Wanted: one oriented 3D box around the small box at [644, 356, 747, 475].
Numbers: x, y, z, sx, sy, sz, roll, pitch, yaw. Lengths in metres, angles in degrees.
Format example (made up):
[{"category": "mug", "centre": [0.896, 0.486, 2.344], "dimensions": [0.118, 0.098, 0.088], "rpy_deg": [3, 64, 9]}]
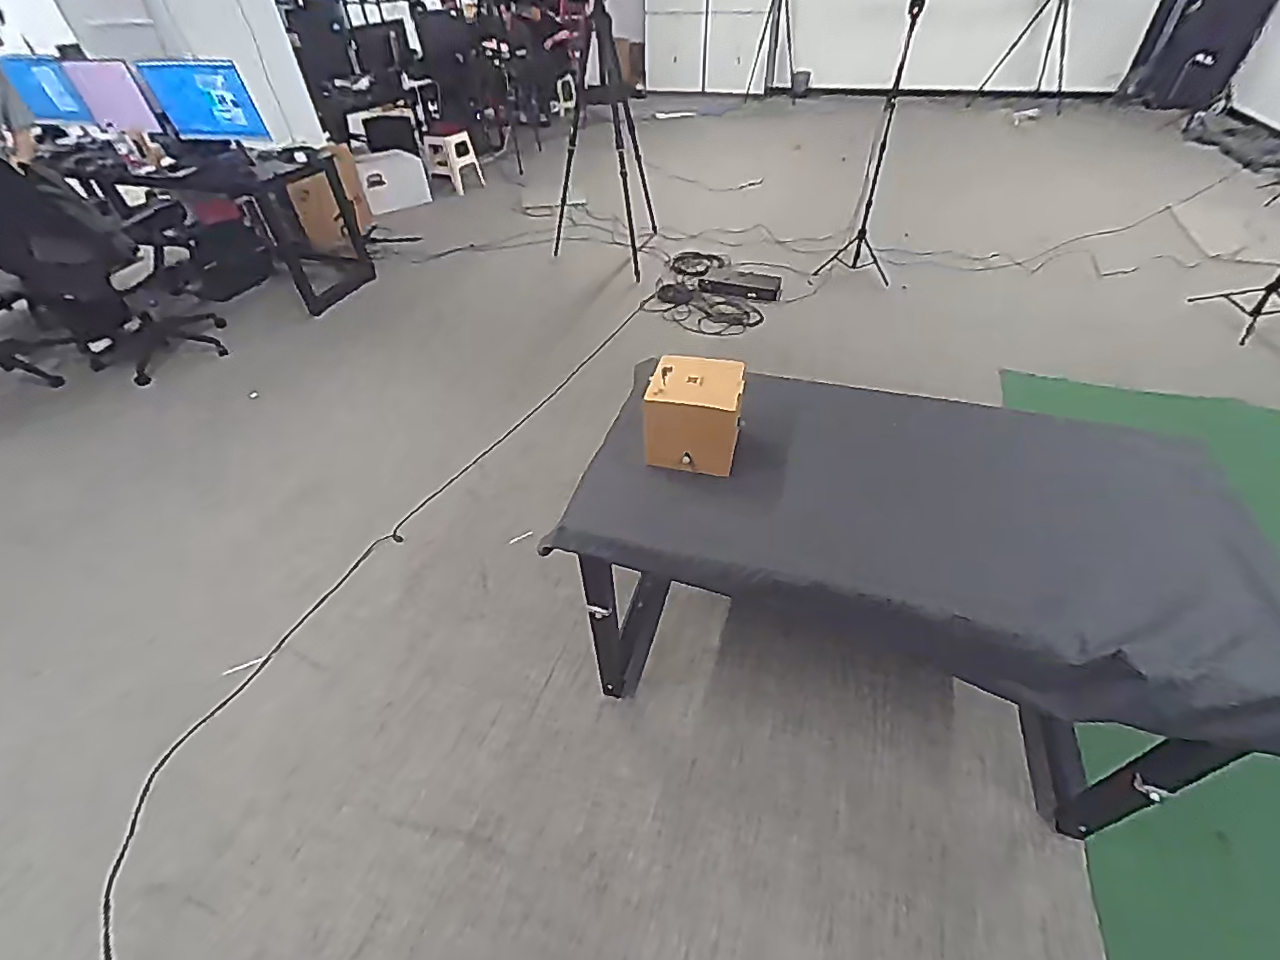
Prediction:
[{"category": "small box", "centre": [0.113, -0.130, 1.110], "dimensions": [0.179, 0.176, 0.168], "rpy_deg": [10, 45, 11]}]
